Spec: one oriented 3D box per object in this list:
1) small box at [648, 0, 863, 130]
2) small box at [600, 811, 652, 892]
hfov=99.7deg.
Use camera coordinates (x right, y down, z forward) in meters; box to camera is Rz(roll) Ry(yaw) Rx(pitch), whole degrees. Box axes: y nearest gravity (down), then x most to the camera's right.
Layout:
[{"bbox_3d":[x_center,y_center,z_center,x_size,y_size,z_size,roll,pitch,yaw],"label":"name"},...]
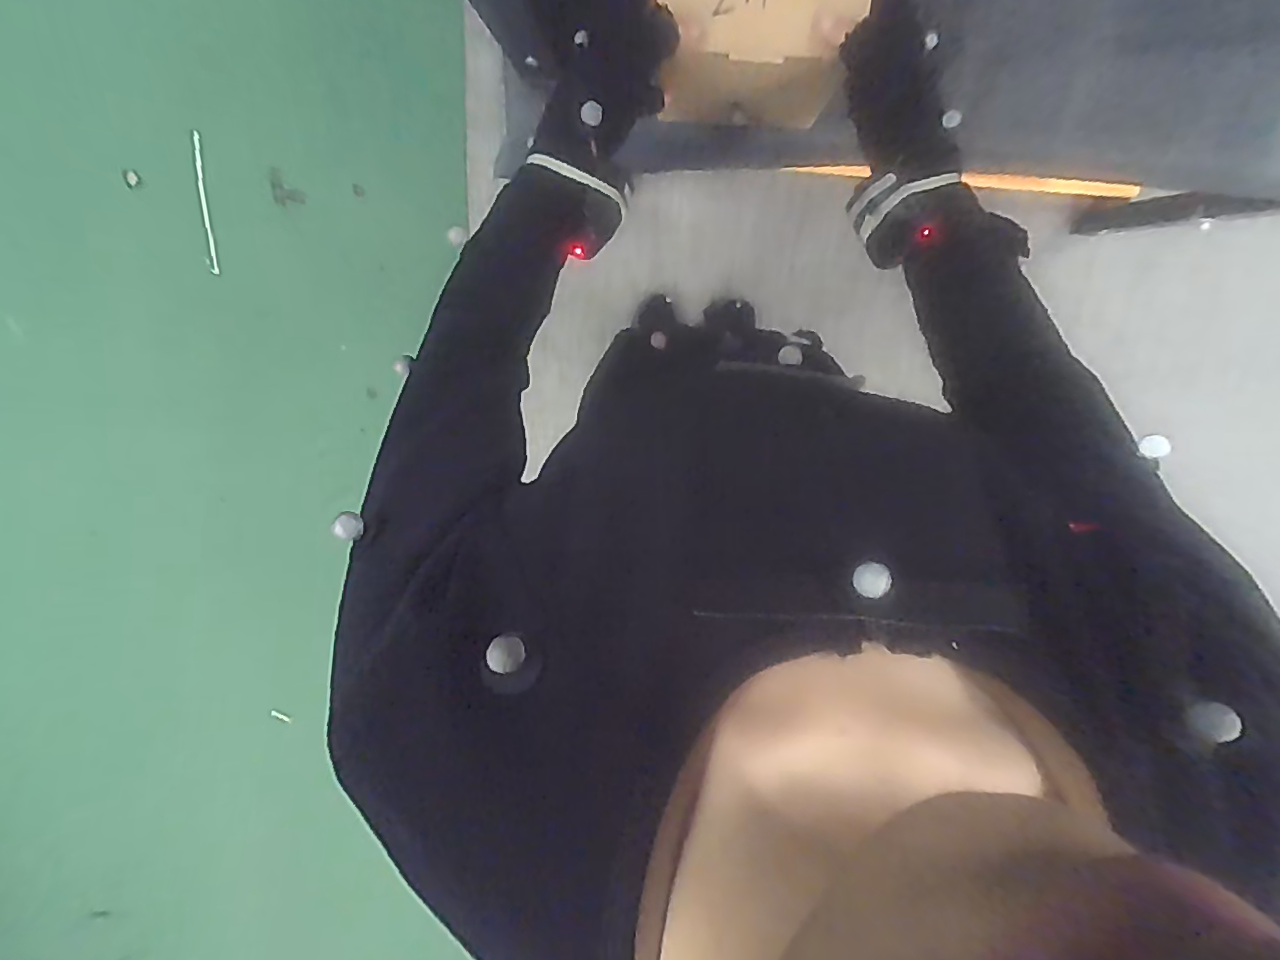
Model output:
[{"bbox_3d":[0.096,-0.439,0.476,0.168,0.176,0.179,4,108,2],"label":"small box"},{"bbox_3d":[-0.044,1.275,1.864,0.168,0.176,0.179,-2,109,4],"label":"small box"}]
